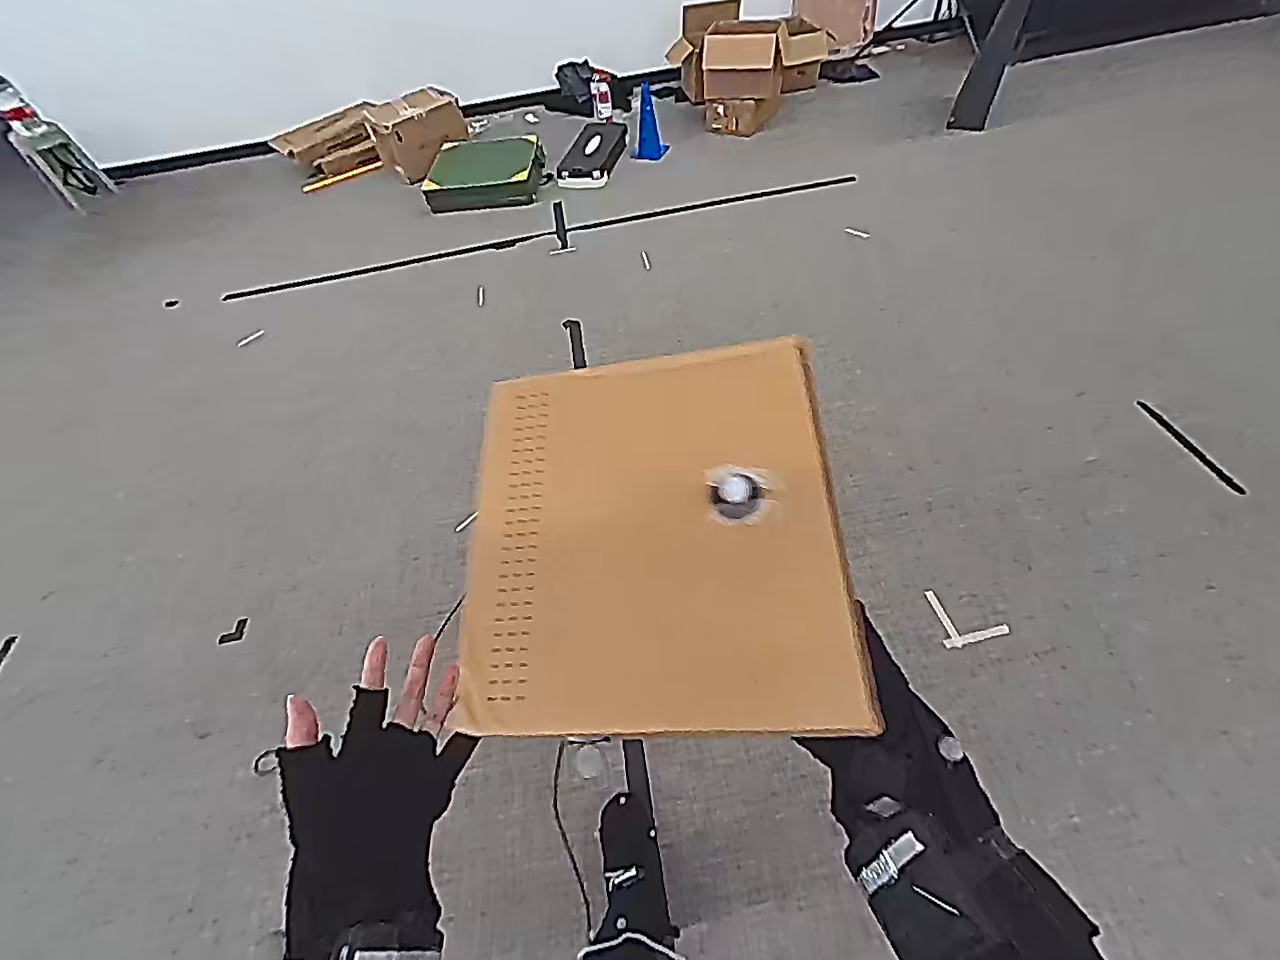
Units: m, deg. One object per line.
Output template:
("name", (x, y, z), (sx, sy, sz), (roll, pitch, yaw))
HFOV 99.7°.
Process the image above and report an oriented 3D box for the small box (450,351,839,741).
("small box", (0.009, 0.054, 0.321), (0.176, 0.168, 0.179), (-8, 63, 13))
